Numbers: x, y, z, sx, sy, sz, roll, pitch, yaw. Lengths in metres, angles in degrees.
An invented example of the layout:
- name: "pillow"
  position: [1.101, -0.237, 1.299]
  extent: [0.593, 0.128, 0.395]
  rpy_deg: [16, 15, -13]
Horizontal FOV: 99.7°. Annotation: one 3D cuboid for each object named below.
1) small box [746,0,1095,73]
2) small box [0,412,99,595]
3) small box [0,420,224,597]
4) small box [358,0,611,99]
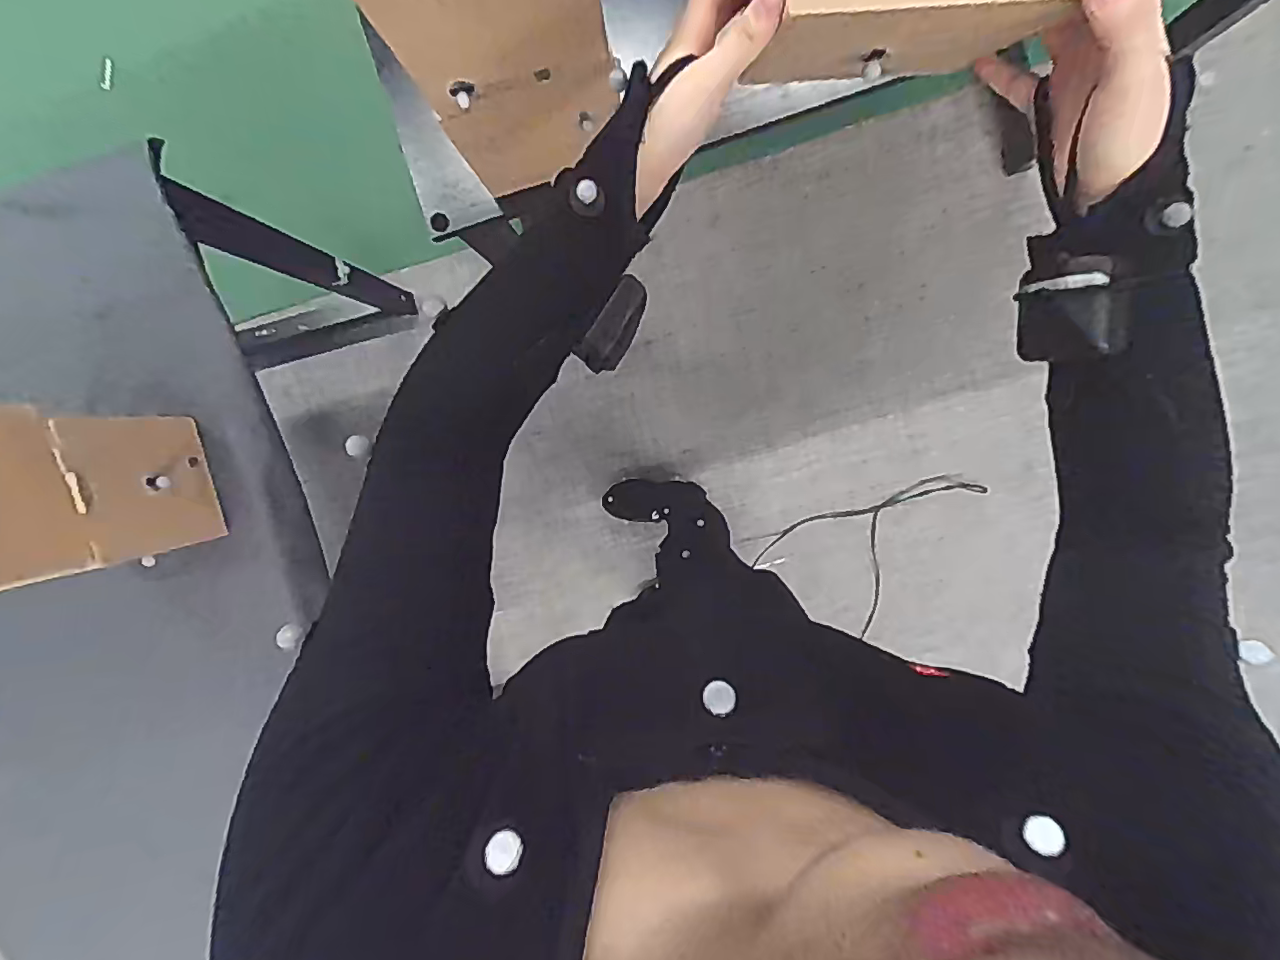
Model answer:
- name: "small box"
  position: [0.157, -0.357, 0.312]
  extent: [0.168, 0.176, 0.179]
  rpy_deg: [-2, 116, 2]
- name: "small box"
  position: [-0.671, 0.036, 0.492]
  extent: [0.168, 0.176, 0.179]
  rpy_deg: [-14, 96, 7]
- name: "small box"
  position: [-0.653, 0.025, 0.654]
  extent: [0.179, 0.176, 0.168]
  rpy_deg: [-12, 96, 6]
- name: "small box"
  position: [-0.124, -0.424, 0.400]
  extent: [0.168, 0.176, 0.179]
  rpy_deg: [-13, 94, 4]
